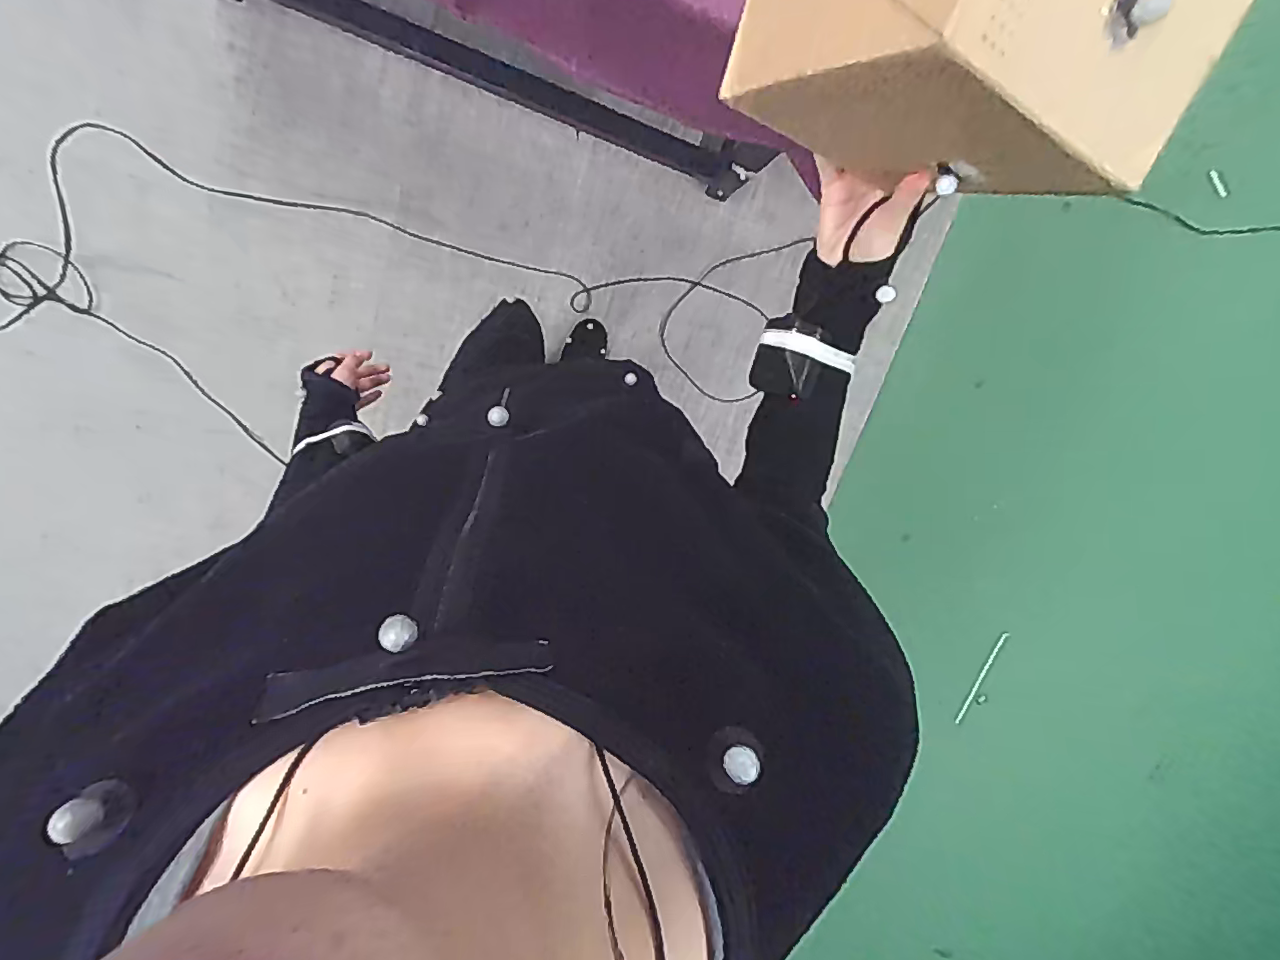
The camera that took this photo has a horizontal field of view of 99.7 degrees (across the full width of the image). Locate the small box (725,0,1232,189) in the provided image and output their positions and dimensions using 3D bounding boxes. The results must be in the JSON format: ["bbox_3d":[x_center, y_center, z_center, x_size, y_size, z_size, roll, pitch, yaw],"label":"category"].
[{"bbox_3d":[0.173,-0.272,0.282,0.176,0.179,0.168,8,111,-28],"label":"small box"}]
